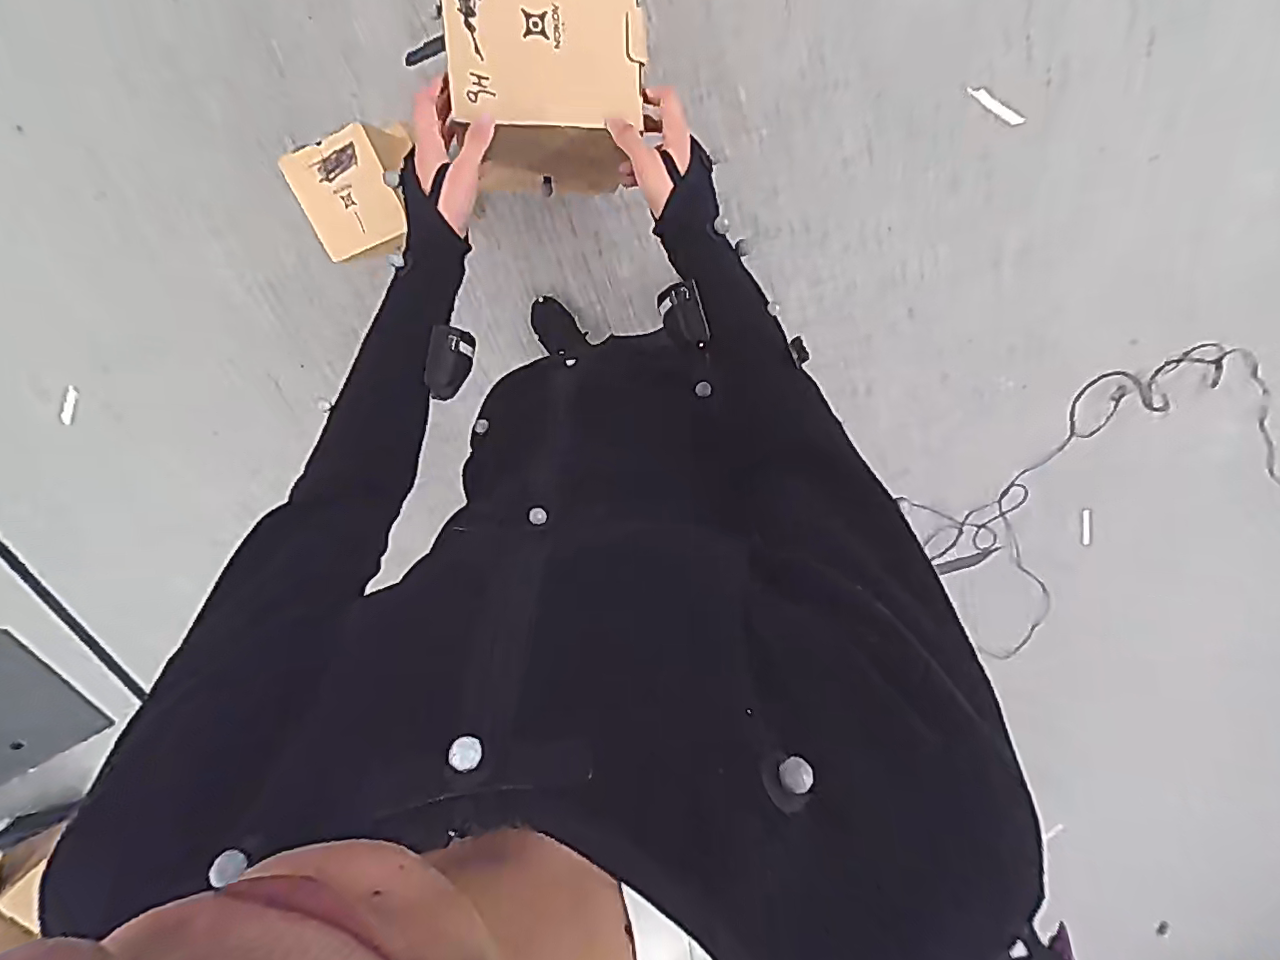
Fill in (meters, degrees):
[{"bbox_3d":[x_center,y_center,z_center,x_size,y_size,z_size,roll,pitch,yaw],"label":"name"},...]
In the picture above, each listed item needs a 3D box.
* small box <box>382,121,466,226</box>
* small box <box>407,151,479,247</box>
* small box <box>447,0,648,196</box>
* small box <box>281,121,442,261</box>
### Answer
[{"bbox_3d":[-0.497,-0.613,1.138,0.179,0.176,0.168,-23,112,8],"label":"small box"},{"bbox_3d":[-0.512,-0.672,1.290,0.168,0.176,0.179,-21,113,8],"label":"small box"},{"bbox_3d":[-0.098,-0.409,0.554,0.179,0.176,0.168,-4,99,-13],"label":"small box"},{"bbox_3d":[-0.500,-0.522,0.998,0.168,0.176,0.179,-18,114,8],"label":"small box"}]
